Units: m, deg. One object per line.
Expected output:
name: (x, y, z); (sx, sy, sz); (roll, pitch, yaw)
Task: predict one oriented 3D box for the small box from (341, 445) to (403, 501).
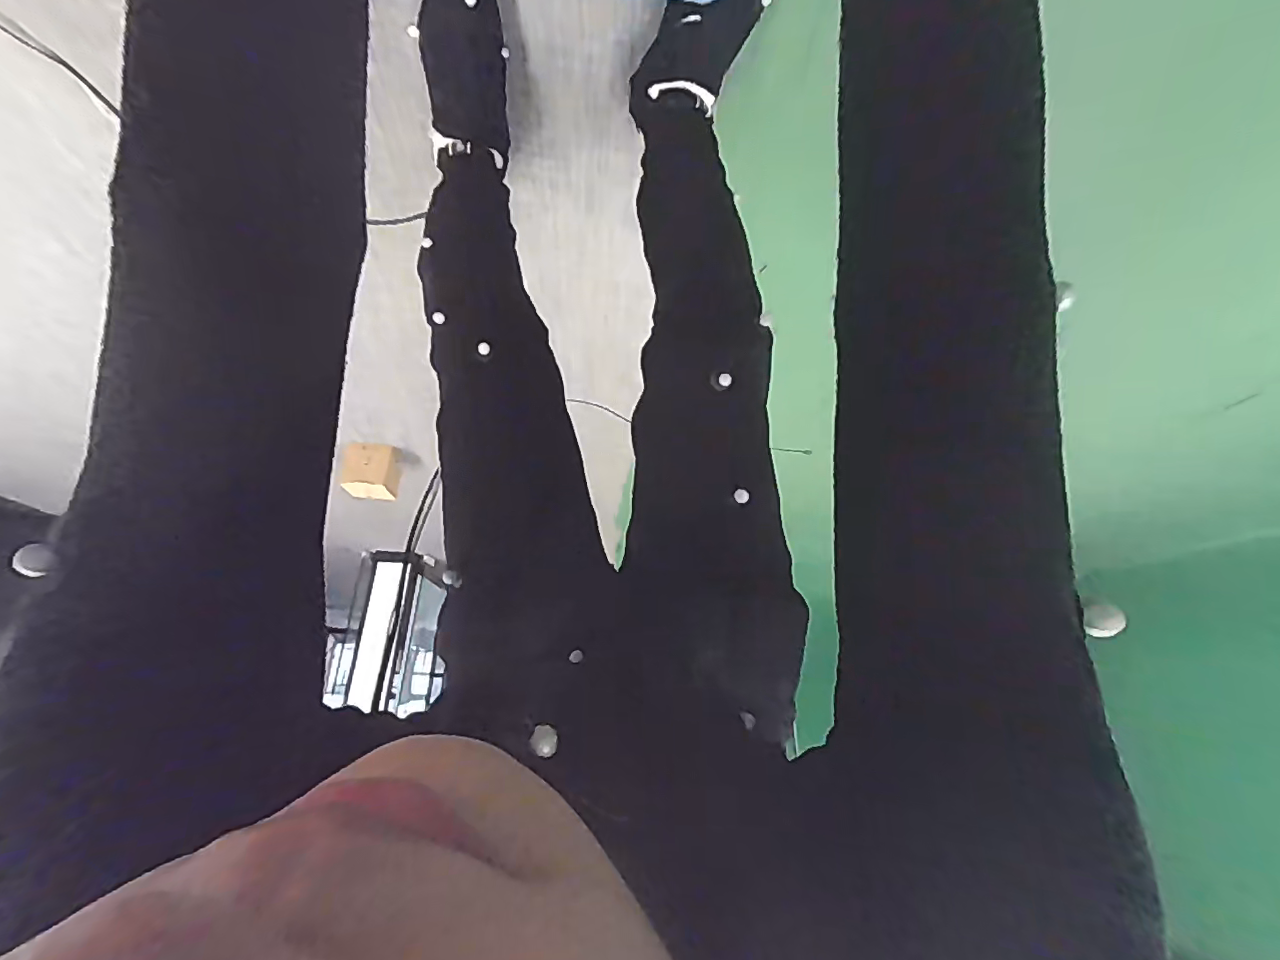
small box: (-1.058, -0.029, 2.144); (0.168, 0.176, 0.179); (5, 158, -7)
